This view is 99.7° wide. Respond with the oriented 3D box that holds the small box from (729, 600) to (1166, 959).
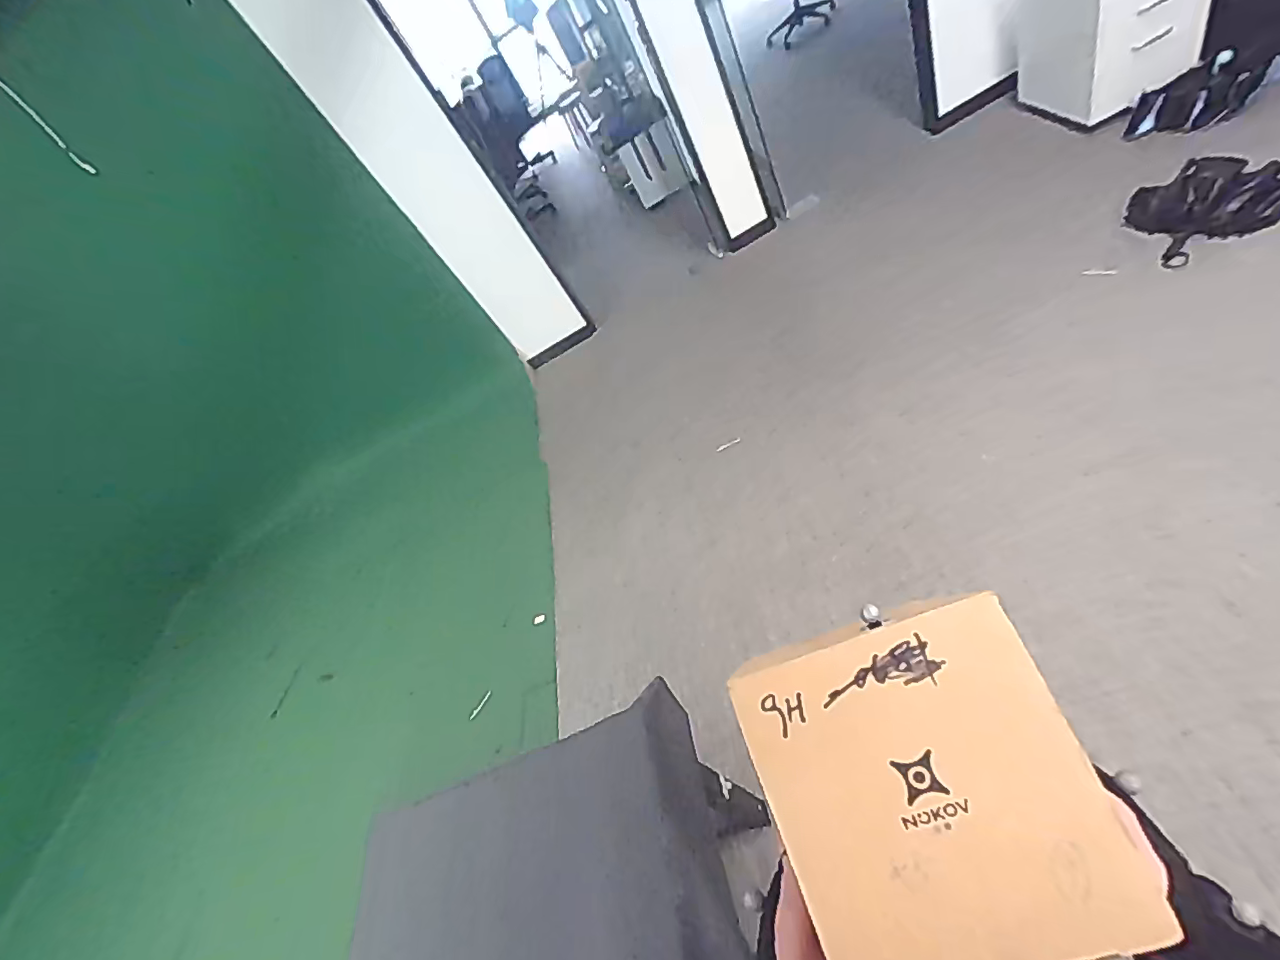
[{"bbox_3d":[0.174,0.190,0.372,0.168,0.176,0.179,-22,73,7],"label":"small box"}]
